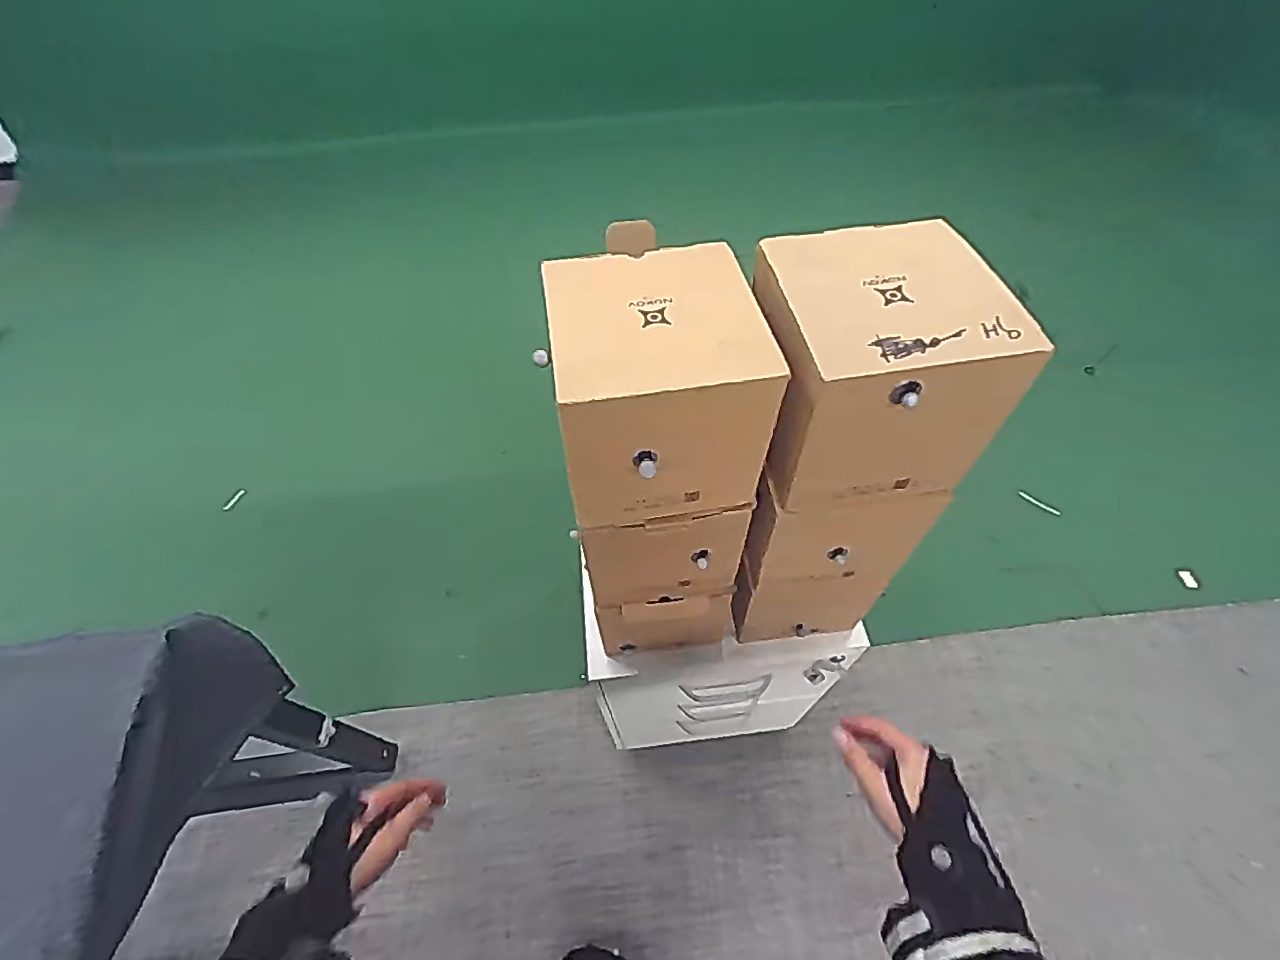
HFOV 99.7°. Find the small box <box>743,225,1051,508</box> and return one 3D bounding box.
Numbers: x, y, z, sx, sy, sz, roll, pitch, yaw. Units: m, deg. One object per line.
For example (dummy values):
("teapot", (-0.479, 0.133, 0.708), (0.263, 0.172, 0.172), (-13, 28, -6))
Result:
("small box", (0.197, -0.098, 0.483), (0.168, 0.176, 0.179), (-7, 54, -2))

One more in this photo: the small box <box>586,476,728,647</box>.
("small box", (0.018, 0.118, 0.740), (0.168, 0.176, 0.179), (-5, 54, -3))
